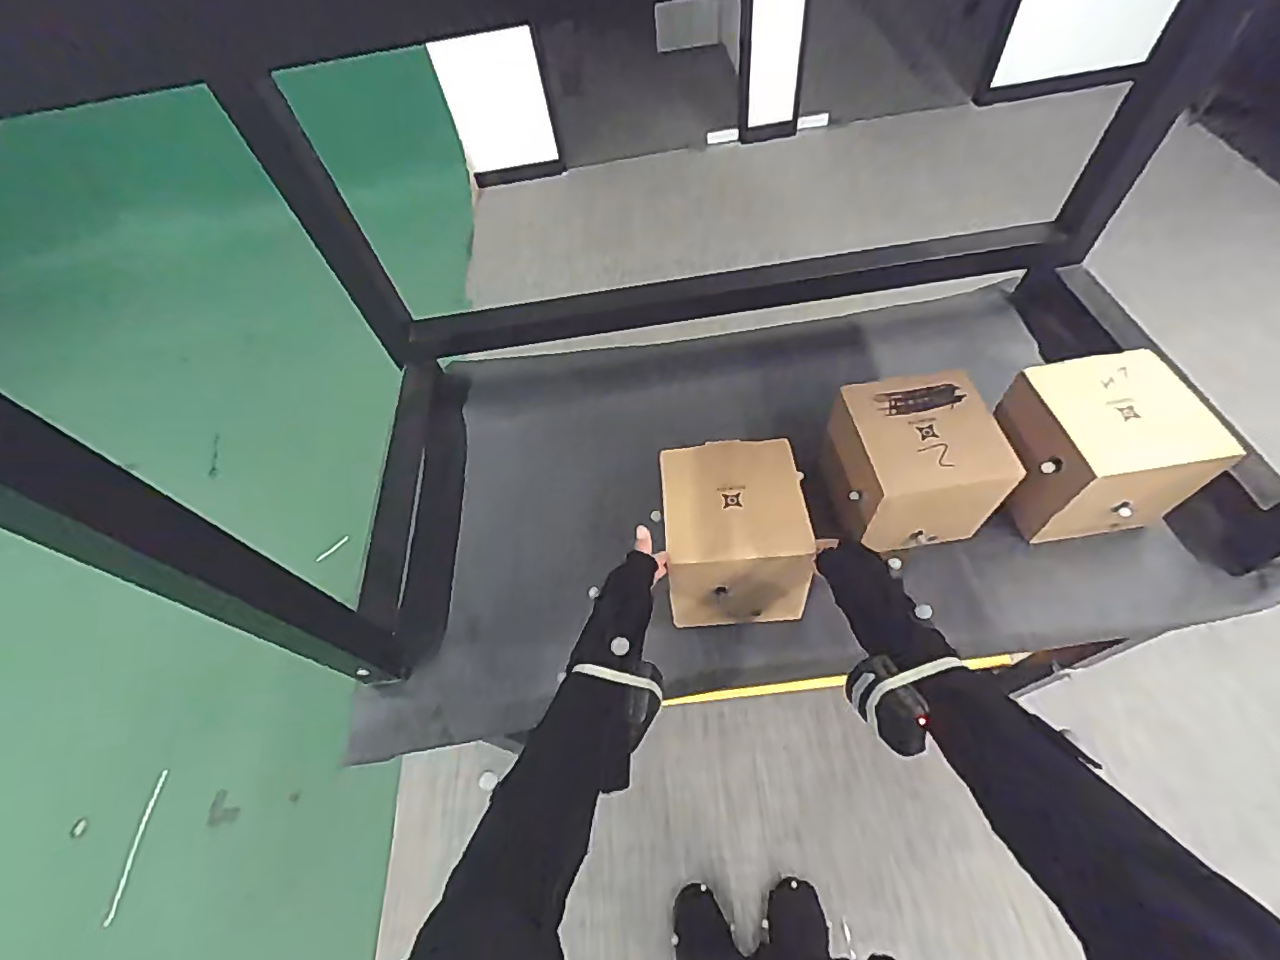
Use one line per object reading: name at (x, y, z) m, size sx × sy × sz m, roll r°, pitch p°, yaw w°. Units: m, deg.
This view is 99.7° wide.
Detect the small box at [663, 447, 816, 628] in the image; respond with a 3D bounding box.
small box at (0.121, 0.082, 0.703) m, size 0.168 × 0.176 × 0.179 m, roll -5°, pitch 50°, yaw 4°

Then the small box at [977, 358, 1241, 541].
small box at (0.594, -0.031, 0.719) m, size 0.168 × 0.176 × 0.179 m, roll -9°, pitch 55°, yaw 2°
